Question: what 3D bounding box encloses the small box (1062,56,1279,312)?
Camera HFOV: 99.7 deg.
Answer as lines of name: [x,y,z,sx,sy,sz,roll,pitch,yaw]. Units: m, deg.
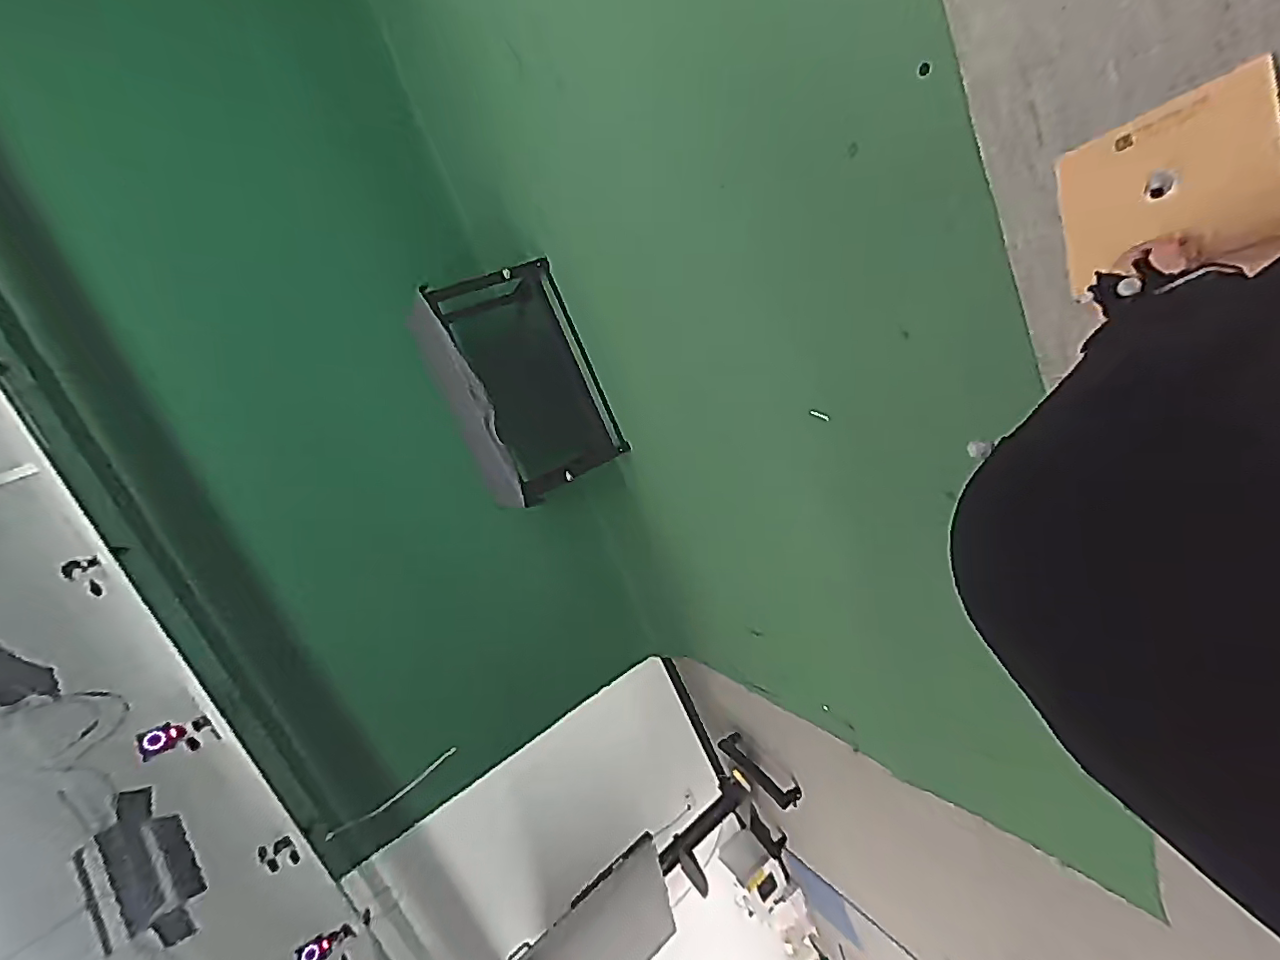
small box: [0.593,-0.303,0.586,0.168,0.179,0.176,-11,84,56]
